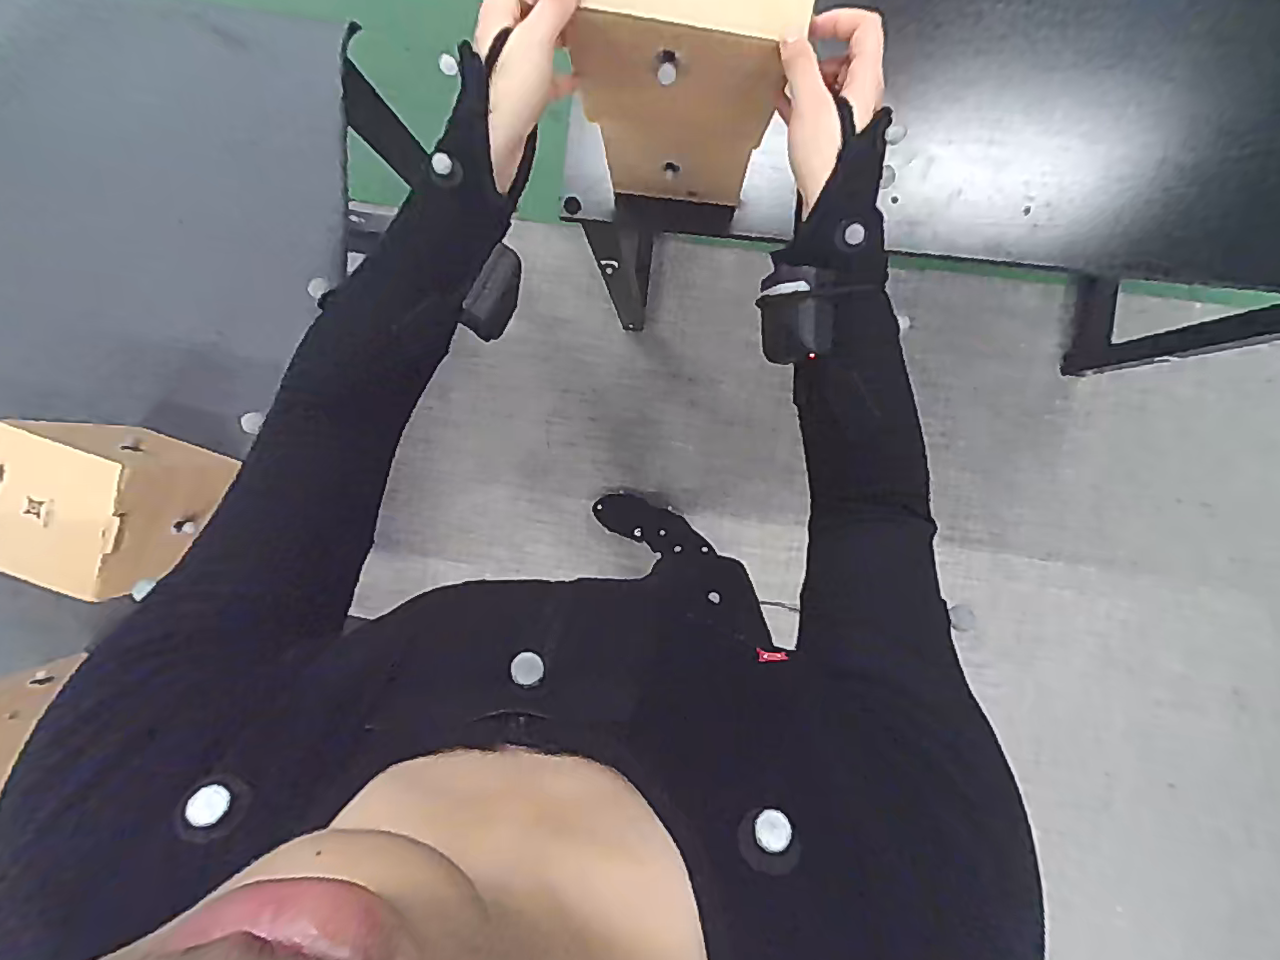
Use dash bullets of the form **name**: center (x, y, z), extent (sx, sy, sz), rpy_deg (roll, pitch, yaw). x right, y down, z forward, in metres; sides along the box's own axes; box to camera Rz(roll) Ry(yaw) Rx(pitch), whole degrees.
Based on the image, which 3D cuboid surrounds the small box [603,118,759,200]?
- **small box**: center (0.059, -0.447, 0.616), extent (0.168, 0.176, 0.179), rpy_deg (8, 93, 2)

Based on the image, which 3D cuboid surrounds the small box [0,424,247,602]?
- **small box**: center (-0.655, 0.032, 0.691), extent (0.179, 0.176, 0.168), rpy_deg (18, 95, 3)

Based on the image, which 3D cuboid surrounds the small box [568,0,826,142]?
- **small box**: center (0.050, -0.401, 0.434), extent (0.179, 0.176, 0.168), rpy_deg (10, 100, 0)
